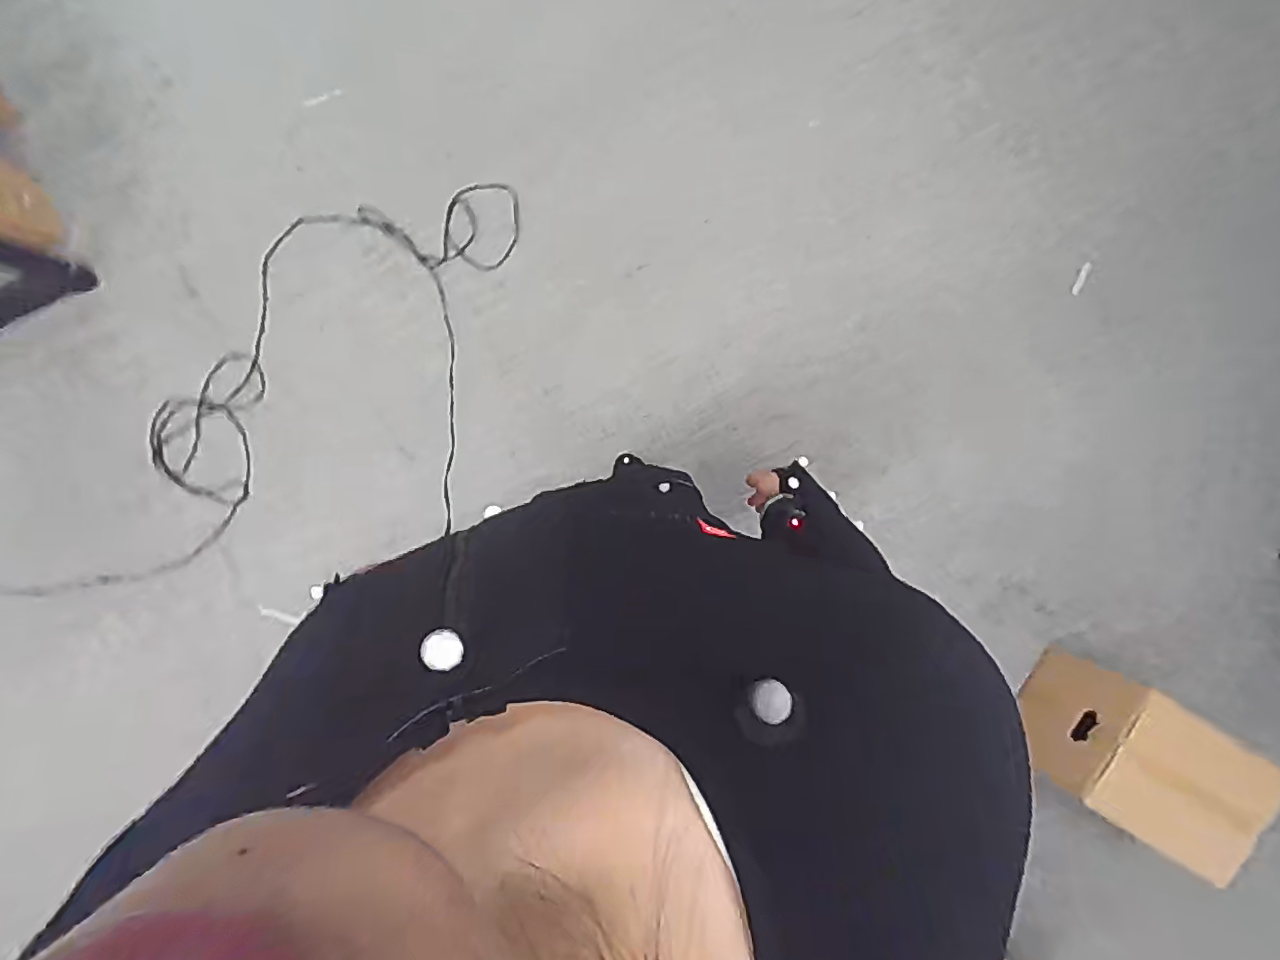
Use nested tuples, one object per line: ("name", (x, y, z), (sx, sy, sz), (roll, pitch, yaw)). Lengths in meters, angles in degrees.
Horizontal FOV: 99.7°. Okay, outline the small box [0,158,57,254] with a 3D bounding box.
("small box", (-1.606, -0.686, 1.324), (0.179, 0.176, 0.168), (-21, 93, -2))
